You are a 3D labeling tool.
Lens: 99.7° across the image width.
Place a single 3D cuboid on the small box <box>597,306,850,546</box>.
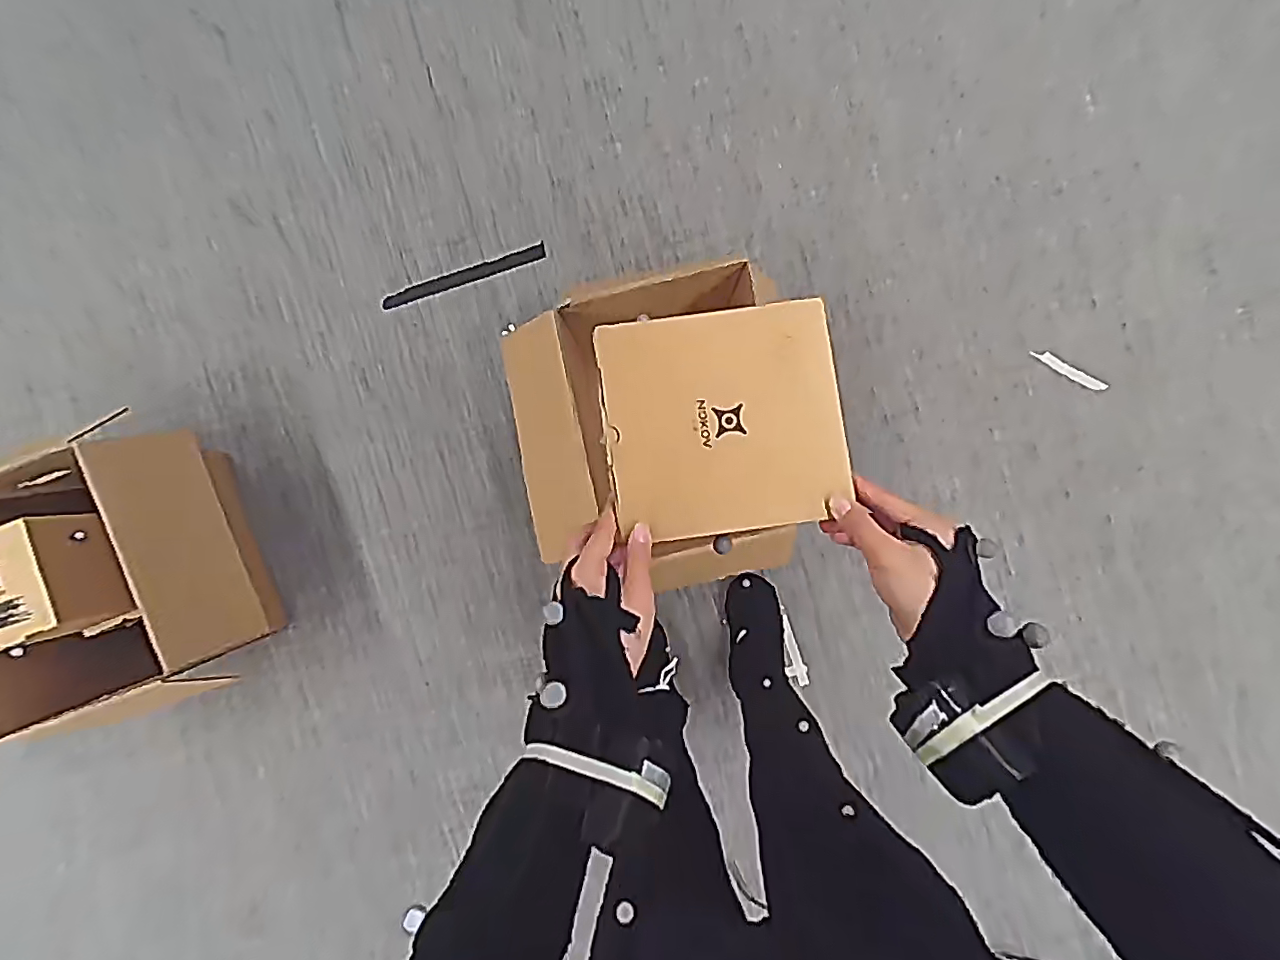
[{"bbox_3d":[0.063,-0.037,0.485,0.179,0.176,0.168,-8,86,1],"label":"small box"}]
